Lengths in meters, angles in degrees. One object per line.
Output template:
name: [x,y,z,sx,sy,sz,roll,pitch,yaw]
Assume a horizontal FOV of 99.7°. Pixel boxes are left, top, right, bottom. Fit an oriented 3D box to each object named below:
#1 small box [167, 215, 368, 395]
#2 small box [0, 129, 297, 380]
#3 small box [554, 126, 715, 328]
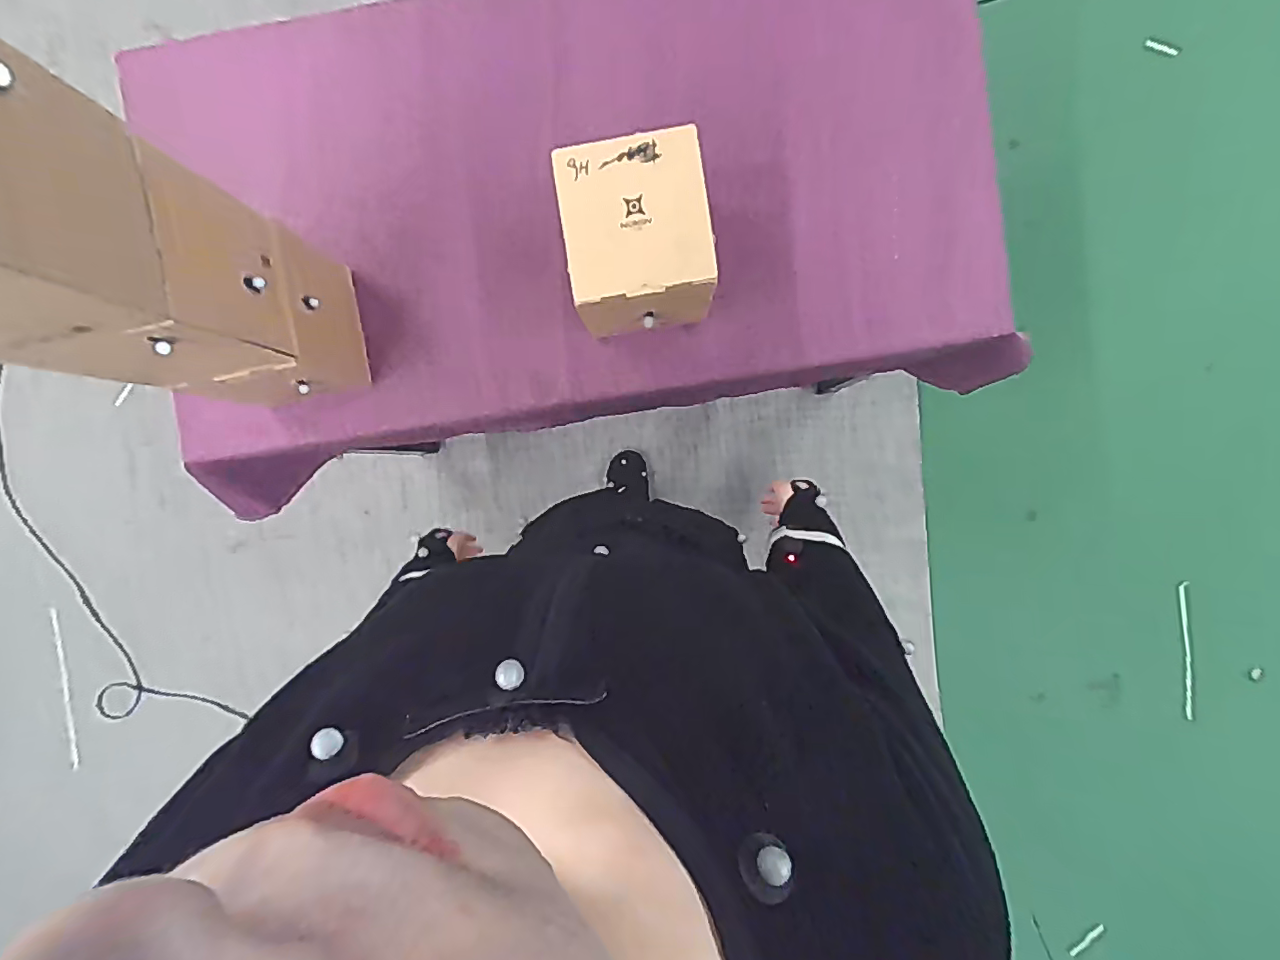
small box: [-0.483,-0.211,0.705,0.168,0.176,0.179,-9,91,2]
small box: [-0.493,-0.205,0.543,0.179,0.176,0.168,-12,92,1]
small box: [-0.002,-0.299,0.683,0.168,0.176,0.179,-8,92,2]
